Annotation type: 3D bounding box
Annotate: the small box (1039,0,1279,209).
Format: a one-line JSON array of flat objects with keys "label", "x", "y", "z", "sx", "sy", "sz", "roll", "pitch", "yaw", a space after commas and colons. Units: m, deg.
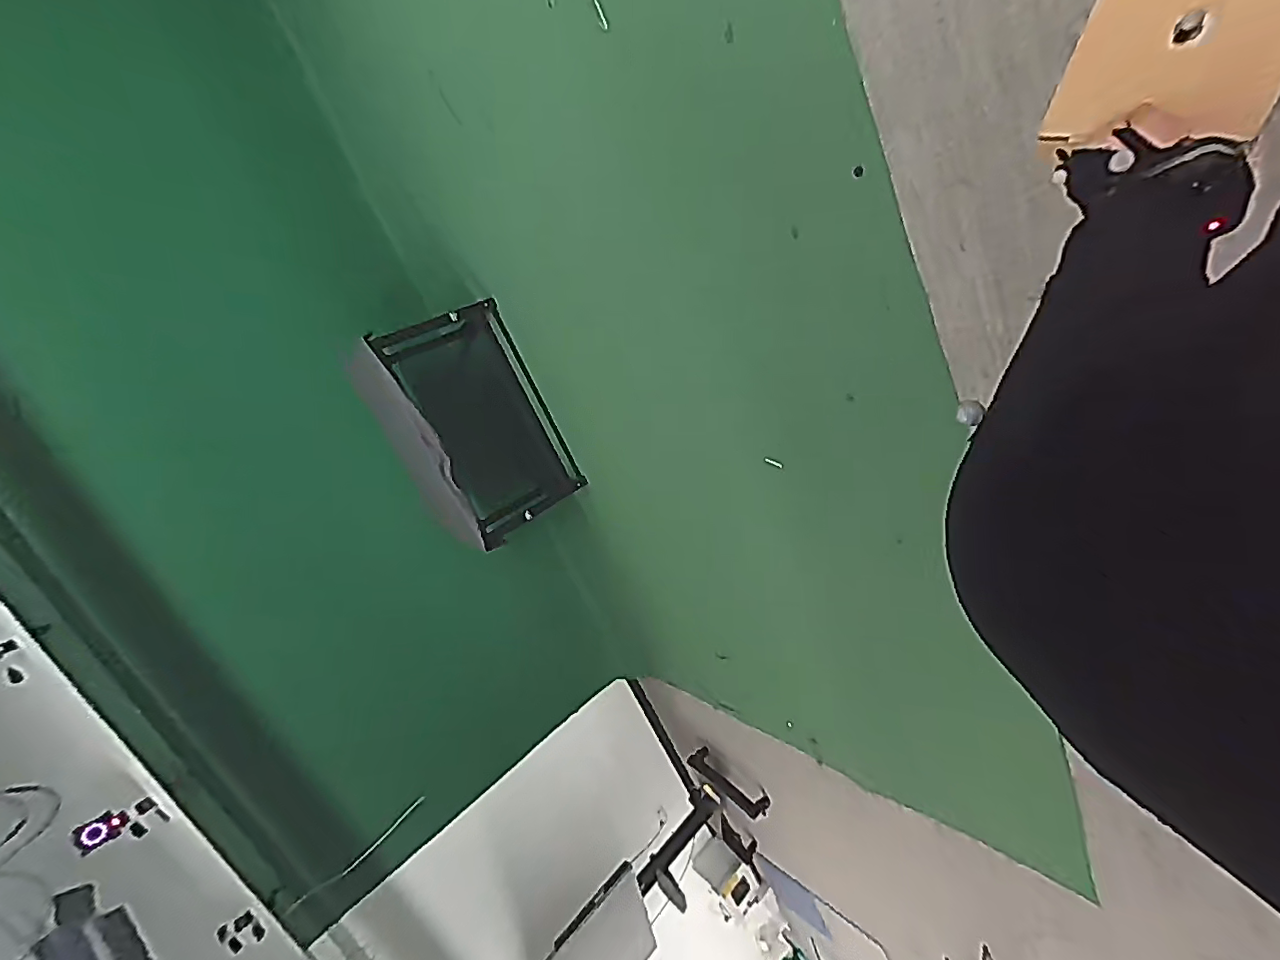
[{"label": "small box", "x": 0.540, "y": -0.400, "z": 0.552, "sx": 0.168, "sy": 0.179, "sz": 0.176, "roll": 27, "pitch": 108, "yaw": 36}]
